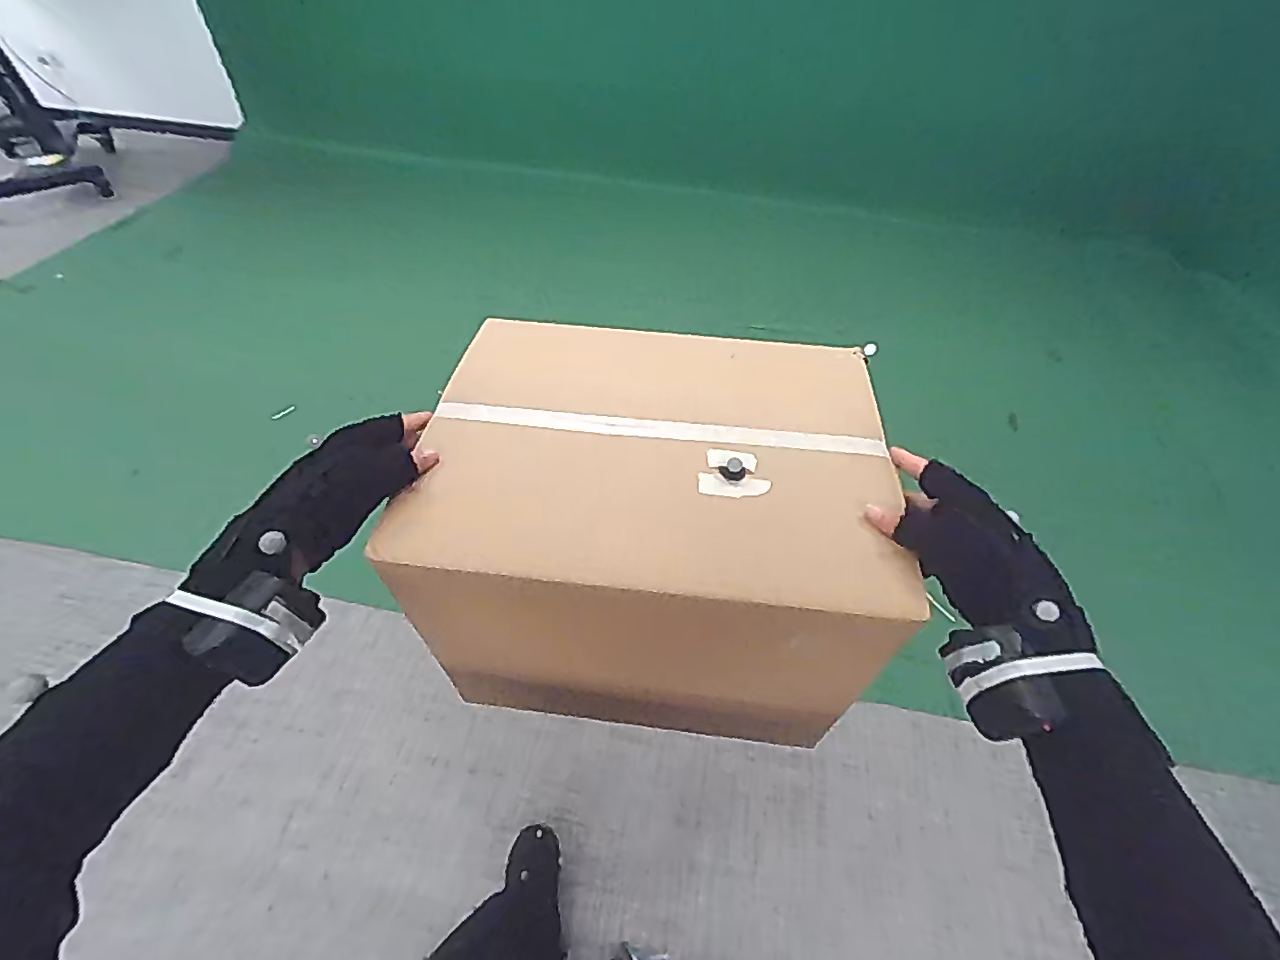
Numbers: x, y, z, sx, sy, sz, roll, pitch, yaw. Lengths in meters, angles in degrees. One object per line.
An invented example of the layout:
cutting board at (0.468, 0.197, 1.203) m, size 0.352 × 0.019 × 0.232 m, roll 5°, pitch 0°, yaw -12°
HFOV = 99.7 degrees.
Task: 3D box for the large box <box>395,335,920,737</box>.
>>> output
large box at (0.017, 0.066, 0.609) m, size 0.408 × 0.320 × 0.320 m, roll 6°, pitch 49°, yaw 3°
